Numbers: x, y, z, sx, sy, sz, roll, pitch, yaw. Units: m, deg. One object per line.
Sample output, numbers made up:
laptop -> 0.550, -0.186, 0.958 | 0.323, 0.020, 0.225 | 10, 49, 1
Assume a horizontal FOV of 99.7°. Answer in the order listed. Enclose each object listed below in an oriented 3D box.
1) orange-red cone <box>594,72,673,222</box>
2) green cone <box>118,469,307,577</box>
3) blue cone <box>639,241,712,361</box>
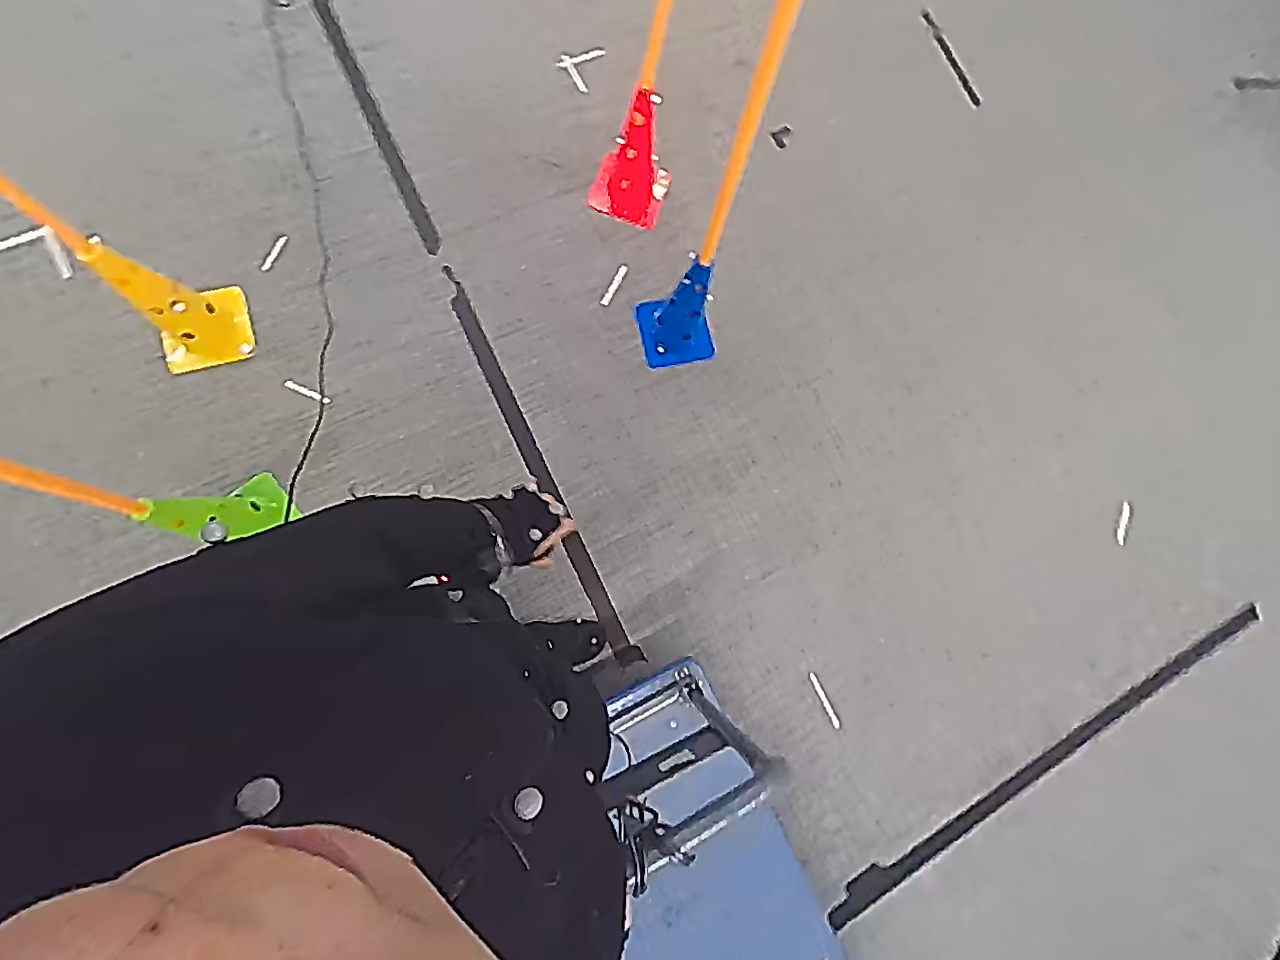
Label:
orange-red cone -> 0.001, -0.886, 1.407 | 0.198, 0.360, 0.199 | 20, 79, -3
green cone -> -0.906, 0.069, 1.118 | 0.200, 0.368, 0.202 | -39, 85, -12
blue cone -> 0.122, -0.461, 1.361 | 0.193, 0.380, 0.192 | -10, 80, -9
